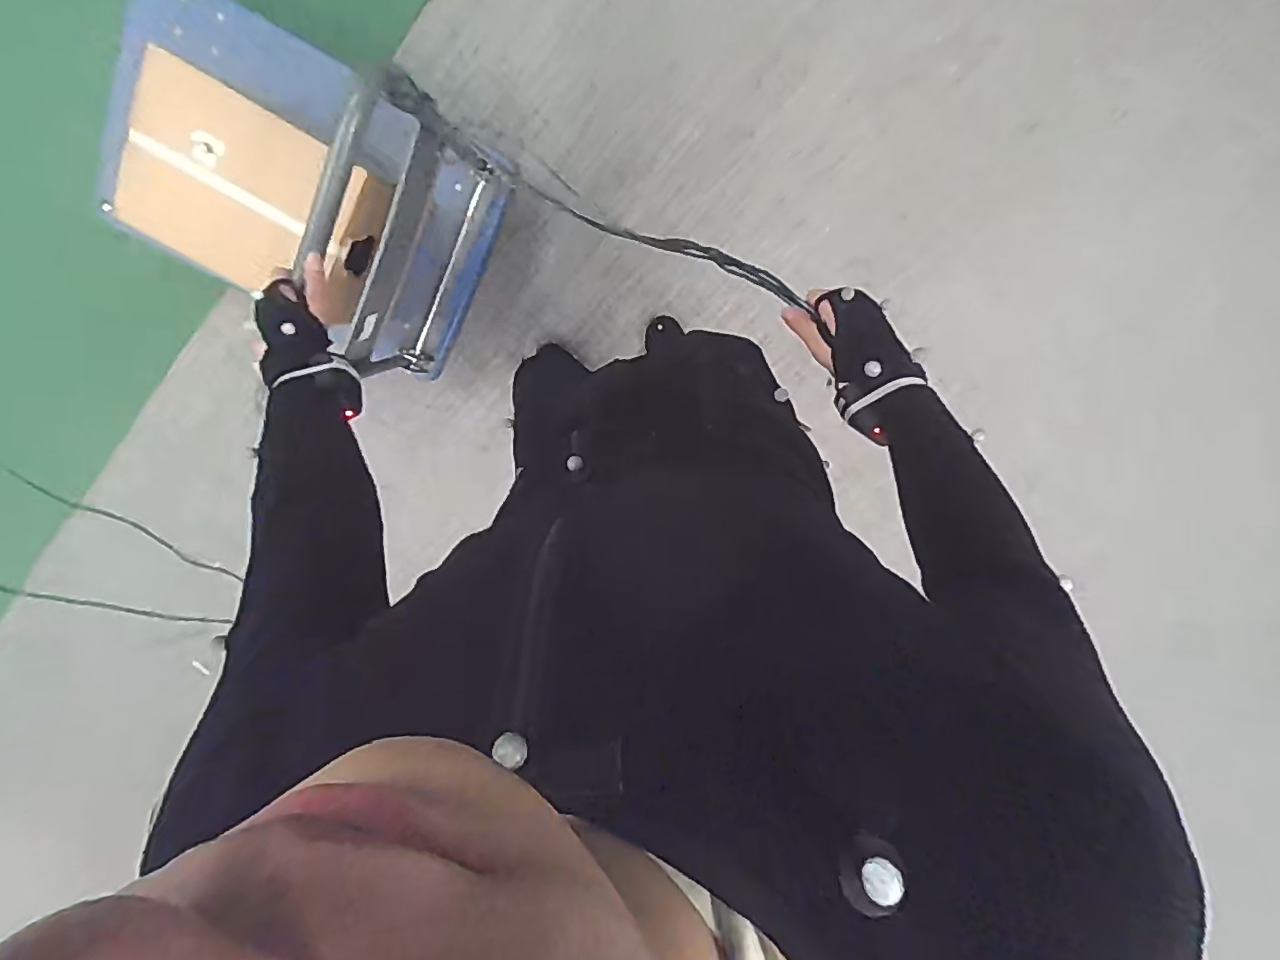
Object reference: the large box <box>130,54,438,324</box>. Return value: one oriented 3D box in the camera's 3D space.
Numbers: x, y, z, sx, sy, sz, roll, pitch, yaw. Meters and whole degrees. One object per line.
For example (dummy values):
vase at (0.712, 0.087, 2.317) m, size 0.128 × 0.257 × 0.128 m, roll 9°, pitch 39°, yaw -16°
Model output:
large box at (-0.716, -0.571, 1.145) m, size 0.408 × 0.320 × 0.320 m, roll 30°, pitch 106°, yaw -7°
